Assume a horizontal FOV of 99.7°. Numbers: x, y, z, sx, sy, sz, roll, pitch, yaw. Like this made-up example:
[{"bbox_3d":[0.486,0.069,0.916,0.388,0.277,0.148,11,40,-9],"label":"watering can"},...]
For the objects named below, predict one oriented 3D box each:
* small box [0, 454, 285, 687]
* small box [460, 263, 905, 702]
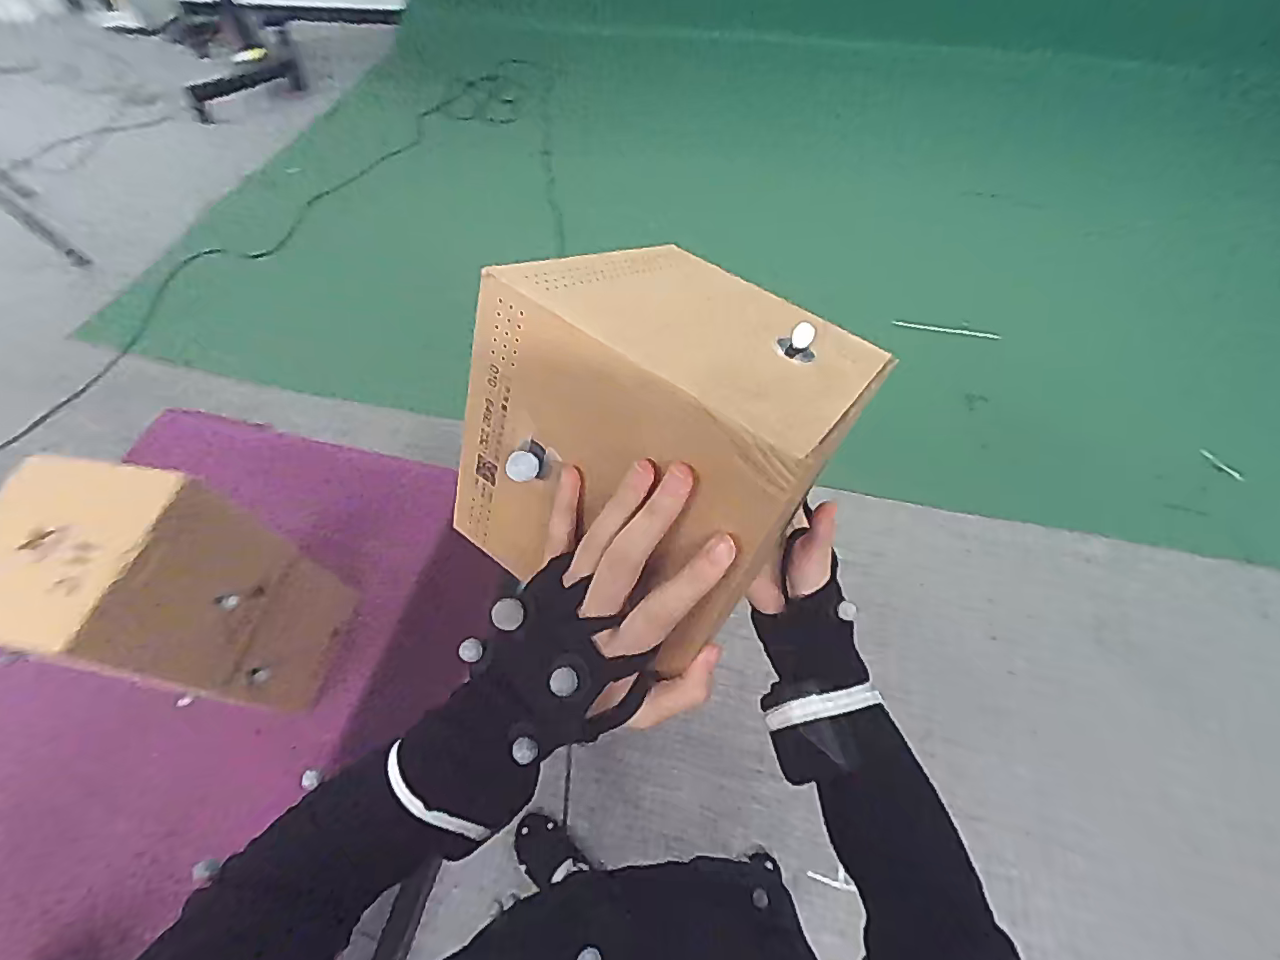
[{"bbox_3d":[-0.513,0.095,0.536,0.179,0.176,0.168,7,60,8],"label":"small box"},{"bbox_3d":[0.022,-0.017,0.328,0.176,0.168,0.179,35,38,18],"label":"small box"}]
